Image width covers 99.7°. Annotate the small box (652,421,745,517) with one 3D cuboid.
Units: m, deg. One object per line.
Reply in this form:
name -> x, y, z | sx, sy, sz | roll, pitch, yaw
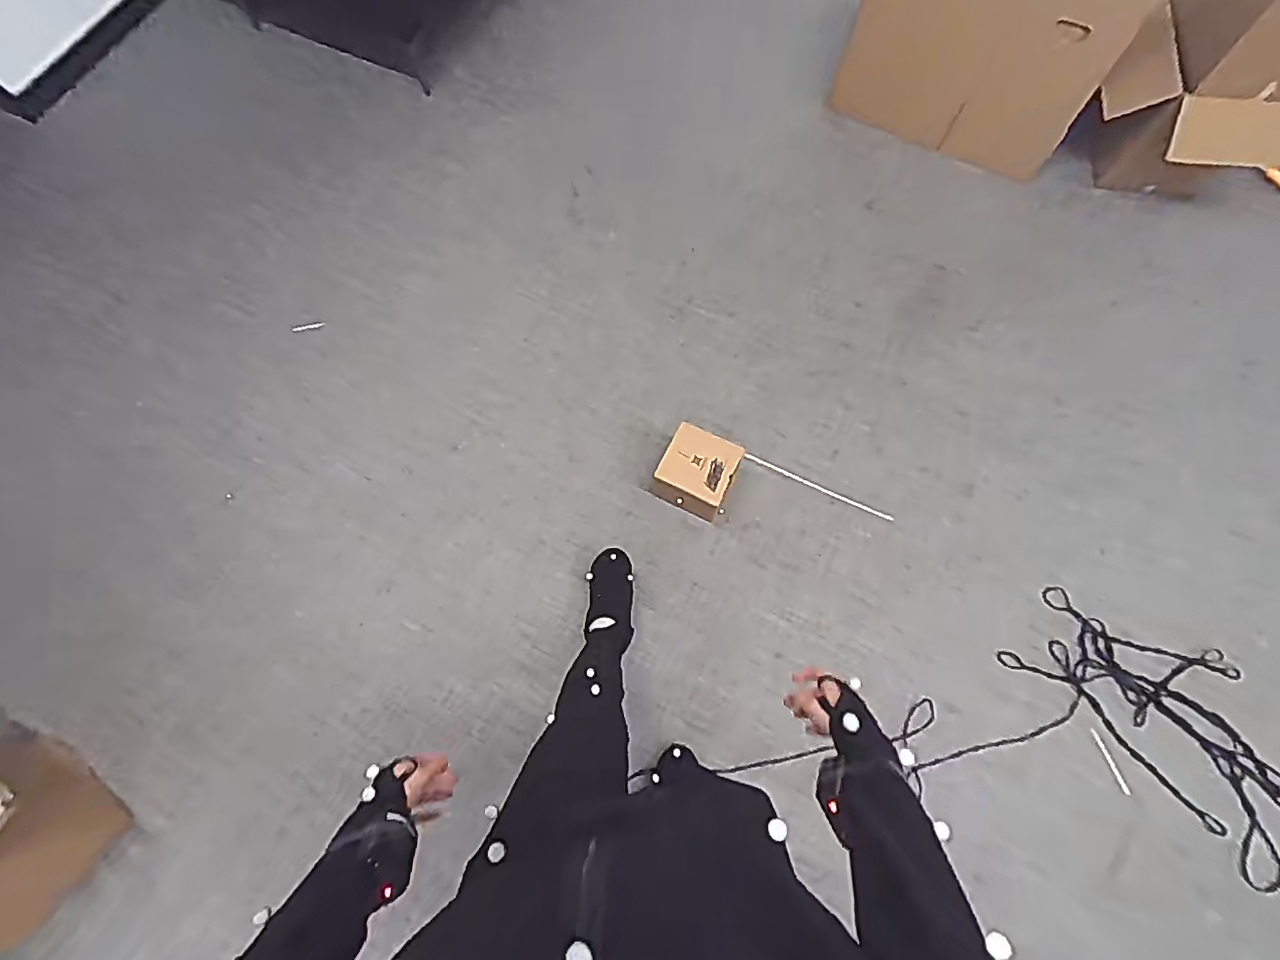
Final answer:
small box -> 0.146, -0.019, 1.384 | 0.179, 0.176, 0.168 | 26, 74, 11
